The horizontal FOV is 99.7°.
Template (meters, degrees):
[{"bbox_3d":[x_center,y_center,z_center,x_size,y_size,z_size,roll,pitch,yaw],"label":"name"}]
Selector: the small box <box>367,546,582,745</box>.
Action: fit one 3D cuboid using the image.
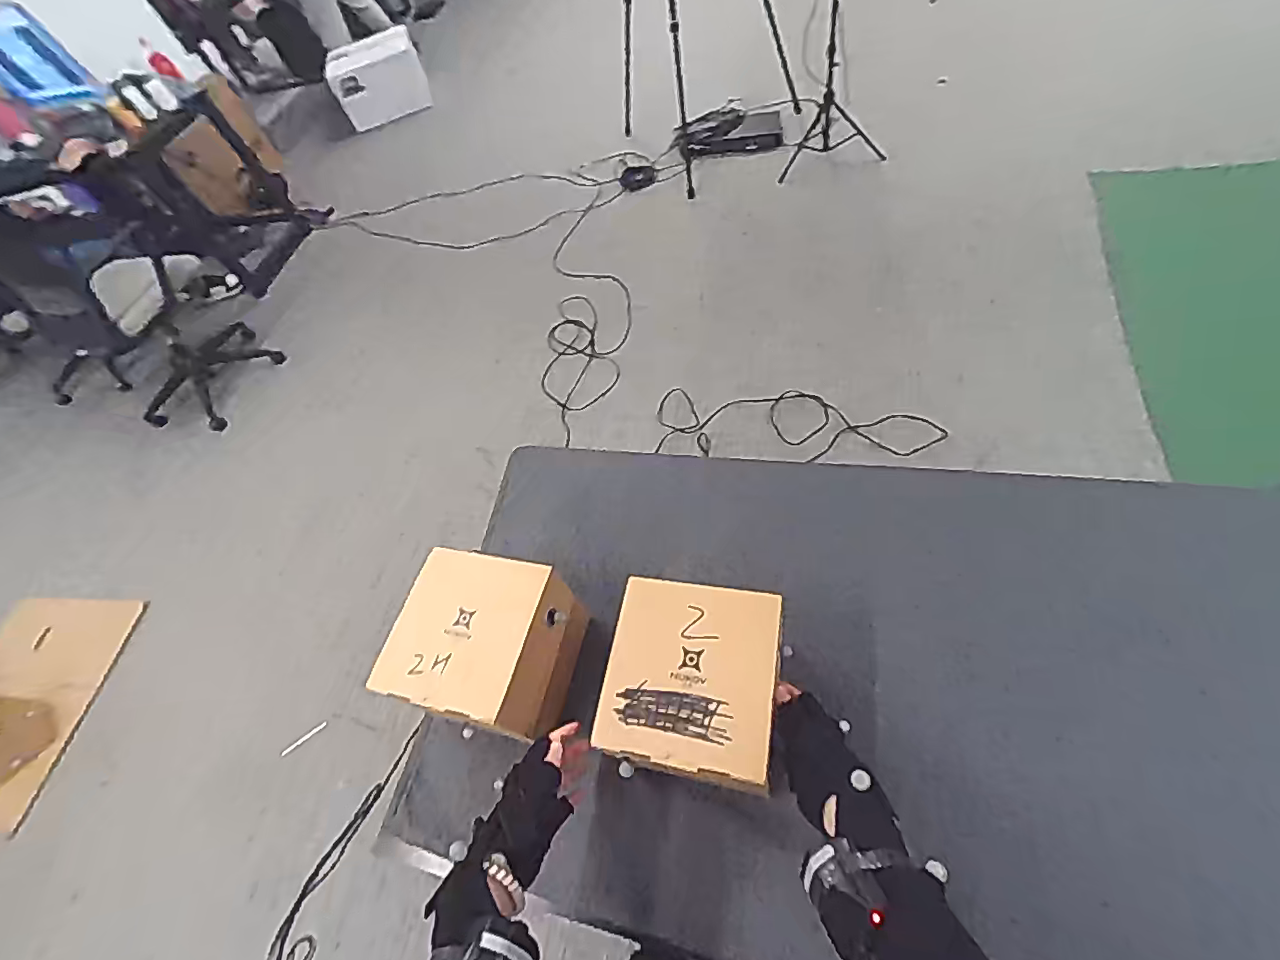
[{"bbox_3d":[-0.184,0.206,0.669,0.168,0.176,0.179,6,58,18],"label":"small box"}]
